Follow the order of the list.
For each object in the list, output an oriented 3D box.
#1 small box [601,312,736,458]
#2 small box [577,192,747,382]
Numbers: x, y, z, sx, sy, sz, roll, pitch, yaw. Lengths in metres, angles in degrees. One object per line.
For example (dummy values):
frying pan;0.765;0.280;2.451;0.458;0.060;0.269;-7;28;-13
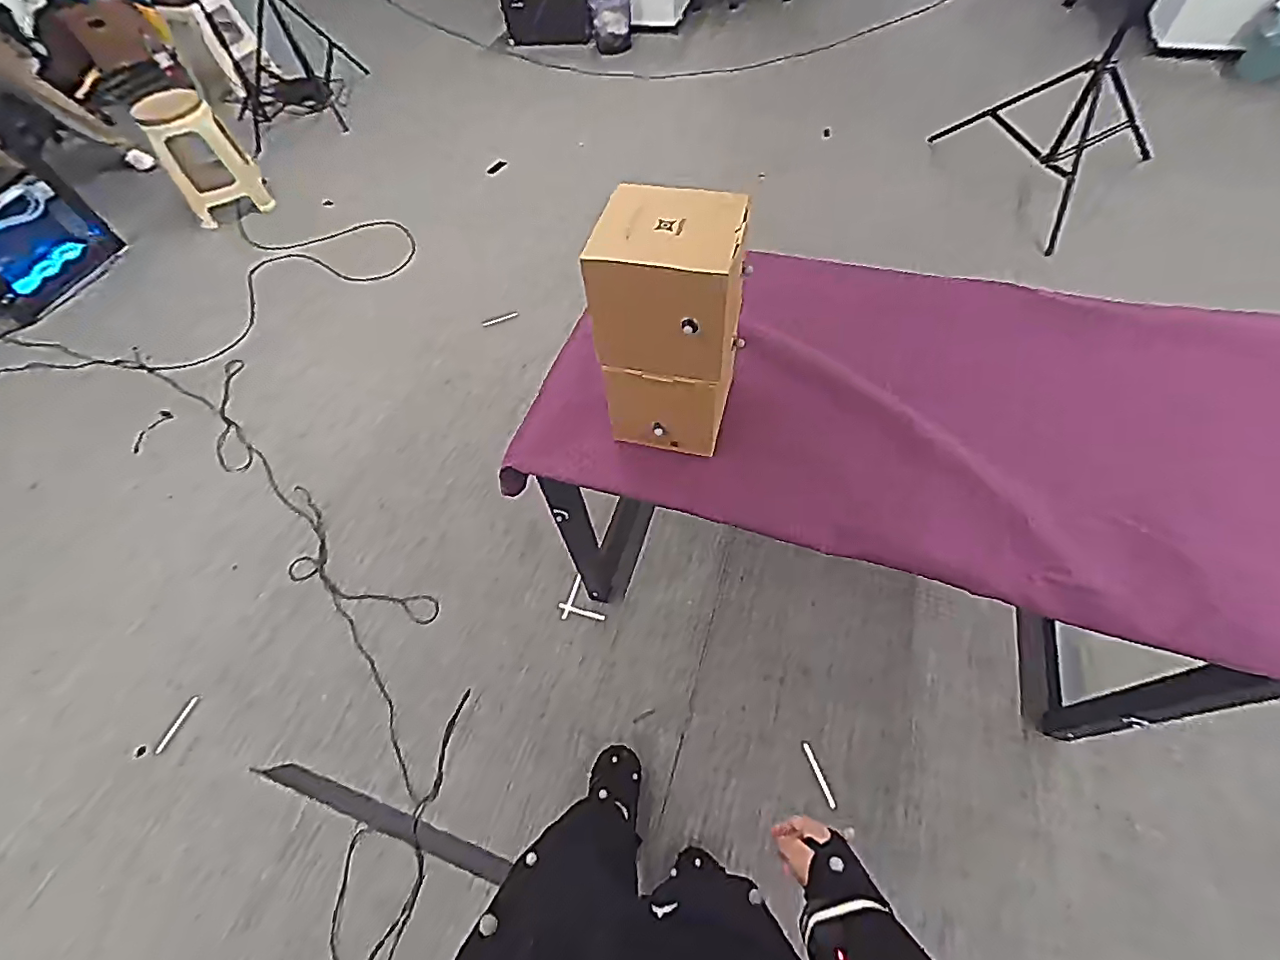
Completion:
small box;0.048;-0.162;0.852;0.168;0.176;0.179;11;59;12
small box;0.036;-0.250;0.716;0.179;0.176;0.168;10;57;11
